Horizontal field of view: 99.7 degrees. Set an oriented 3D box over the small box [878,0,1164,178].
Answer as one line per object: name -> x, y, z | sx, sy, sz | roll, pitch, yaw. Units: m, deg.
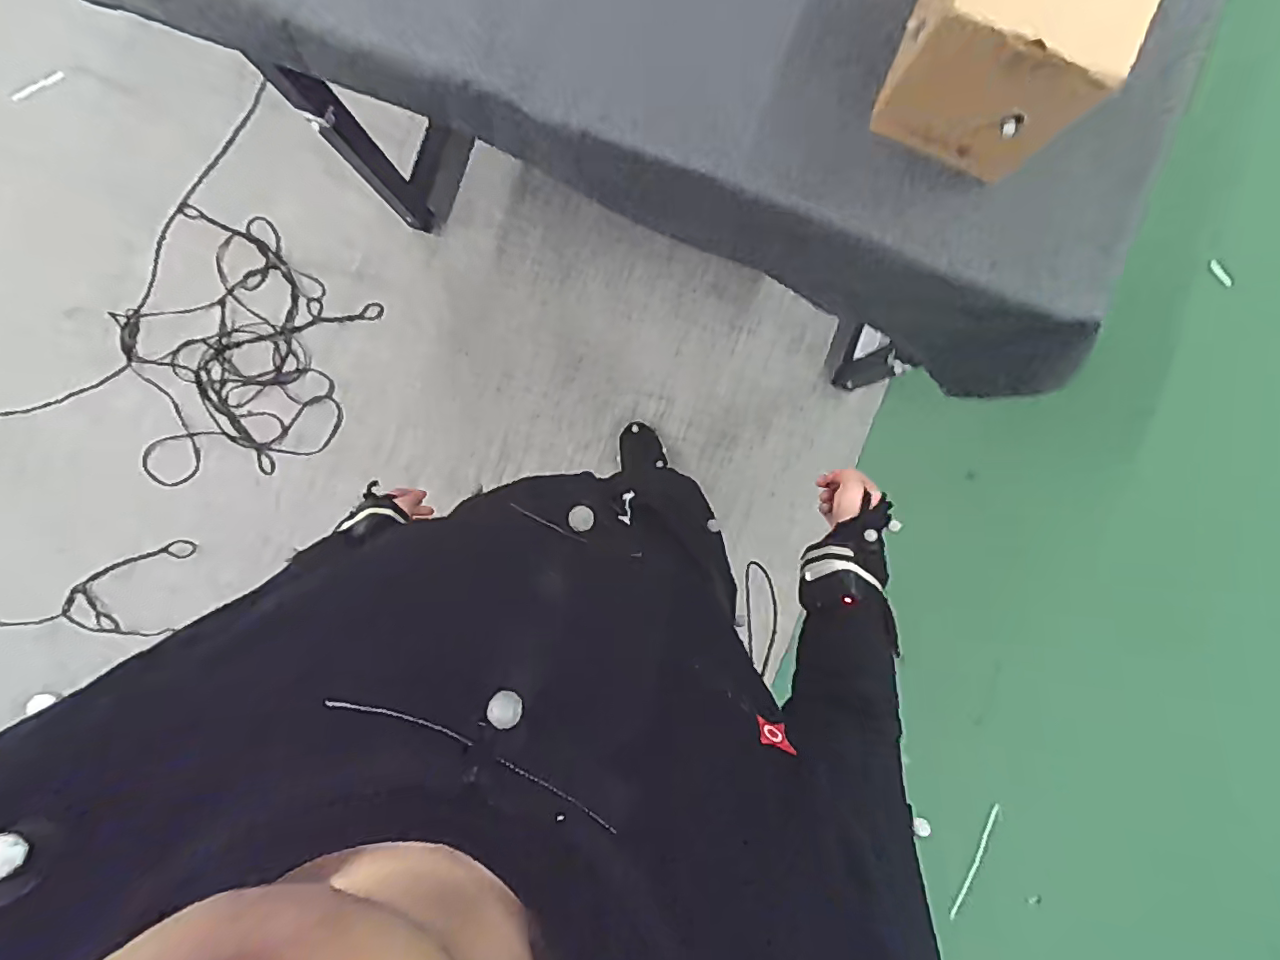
small box -> 0.364, -0.441, 0.531 | 0.168, 0.176, 0.179 | 22, 89, -2
